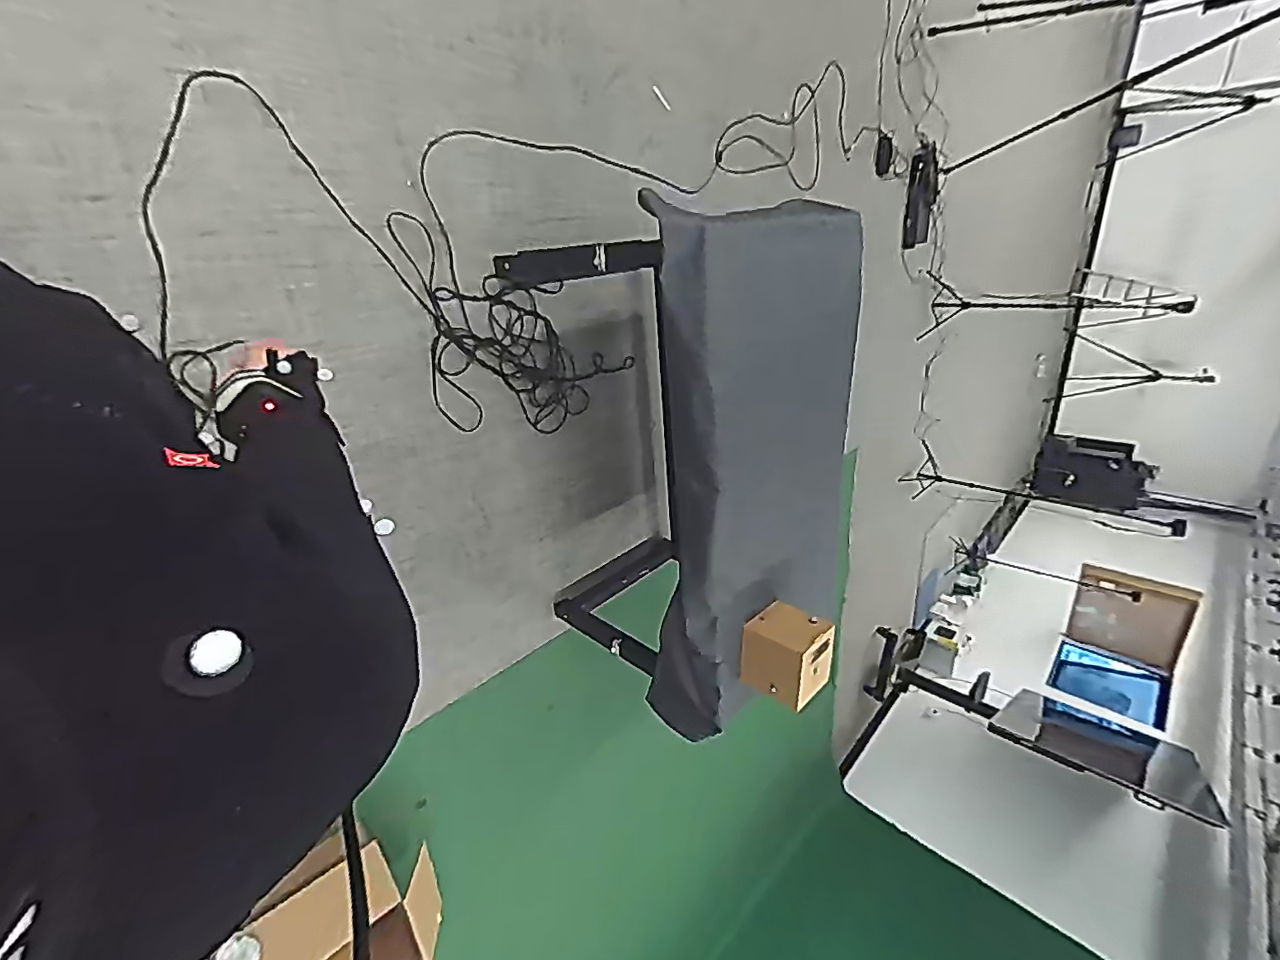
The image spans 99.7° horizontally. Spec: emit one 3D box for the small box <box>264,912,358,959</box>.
[{"bbox_3d":[-0.751,1.172,1.258,0.168,0.176,0.179,-21,119,-41],"label":"small box"}]
